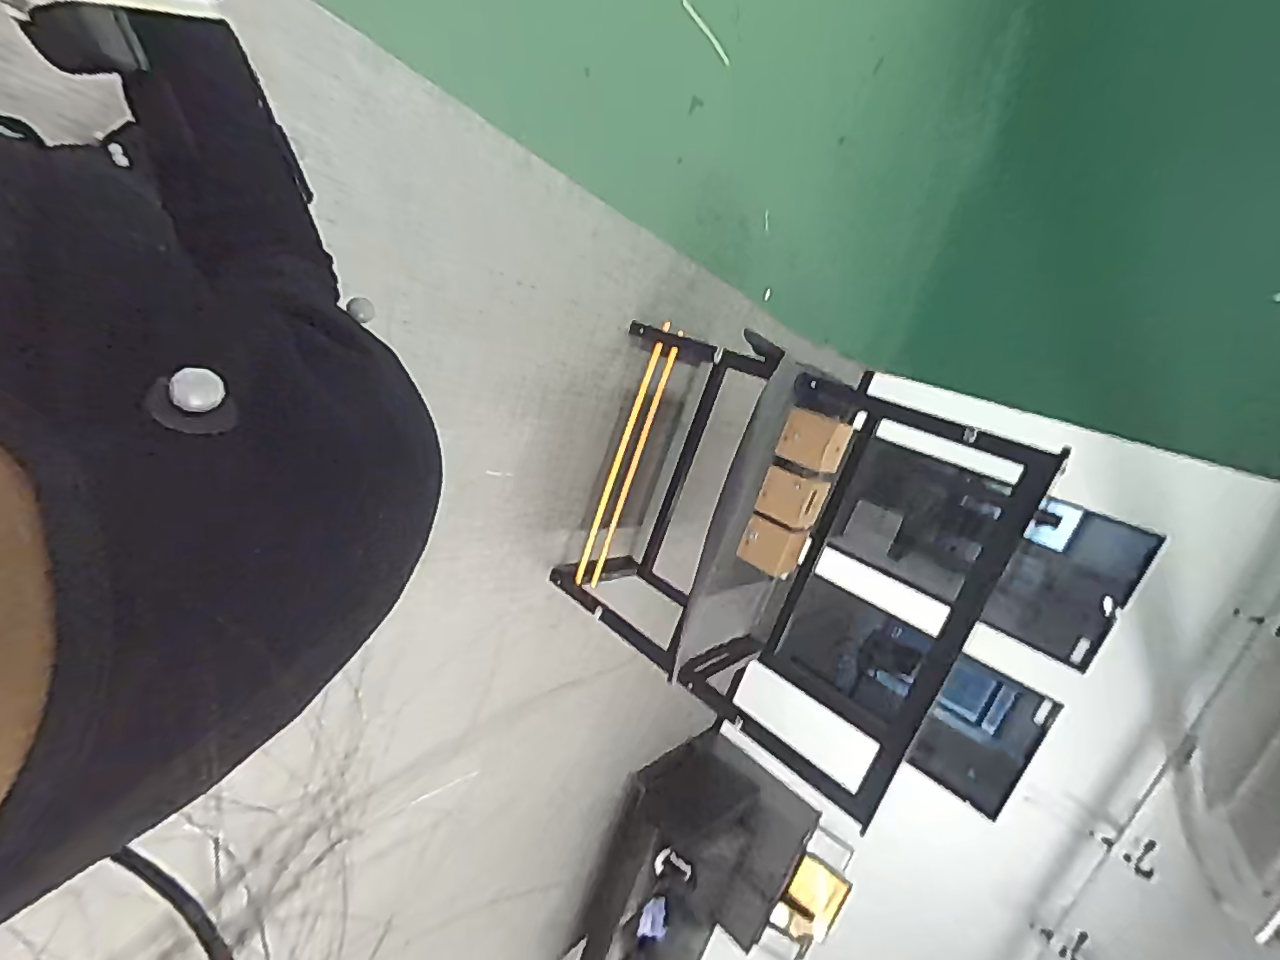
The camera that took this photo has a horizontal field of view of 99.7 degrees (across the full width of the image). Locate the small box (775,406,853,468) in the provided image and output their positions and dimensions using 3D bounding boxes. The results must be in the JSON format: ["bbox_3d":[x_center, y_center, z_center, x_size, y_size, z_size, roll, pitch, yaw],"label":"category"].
[{"bbox_3d":[0.591,-0.147,1.840,0.179,0.176,0.168,-1,113,-52],"label":"small box"}]
